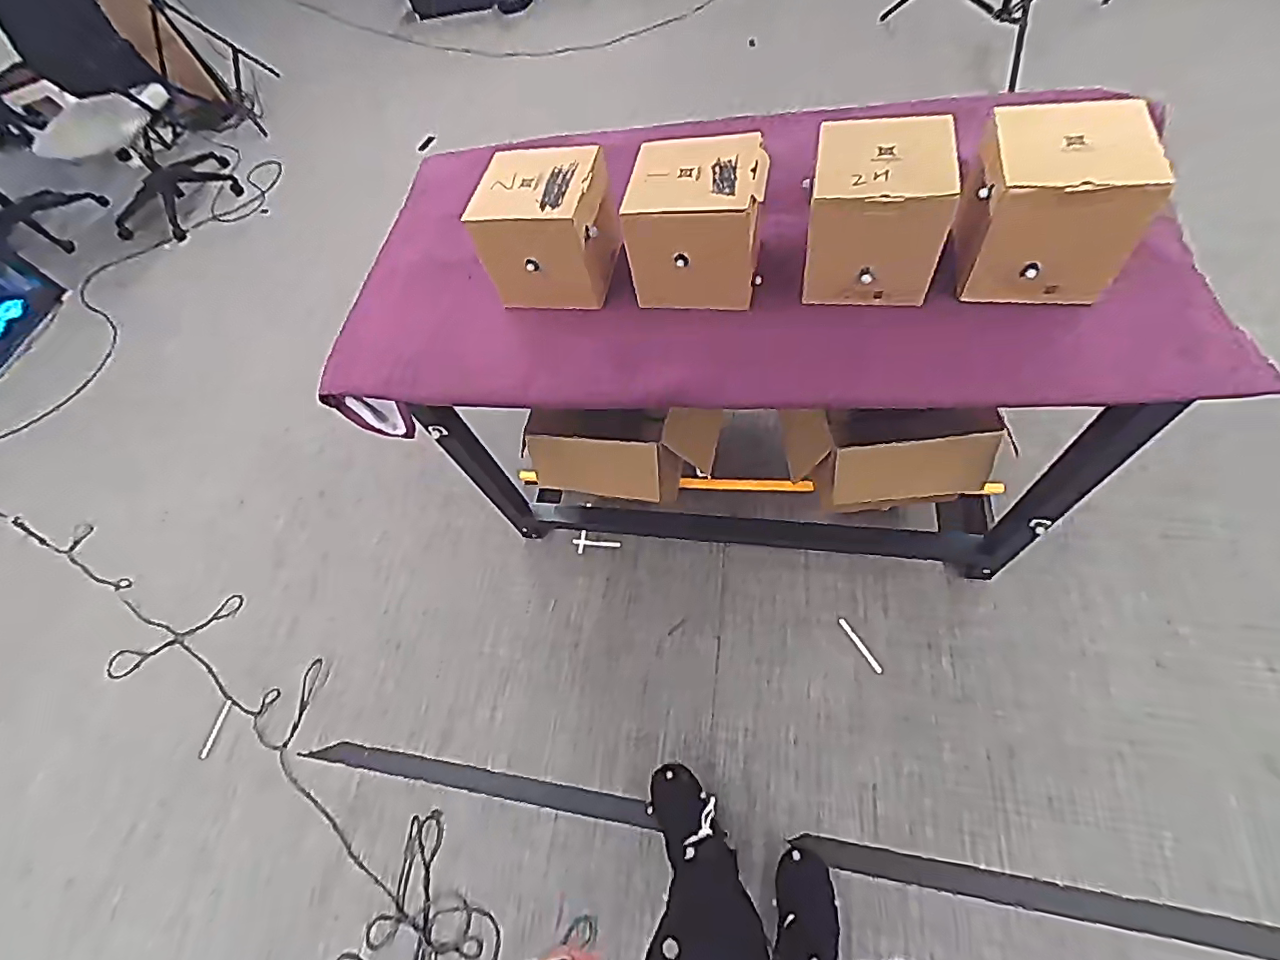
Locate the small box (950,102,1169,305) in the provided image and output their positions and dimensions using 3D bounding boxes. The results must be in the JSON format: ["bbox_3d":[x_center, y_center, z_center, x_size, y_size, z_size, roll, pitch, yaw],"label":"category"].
[{"bbox_3d":[0.523,-0.356,0.709,0.168,0.176,0.179,6,61,15],"label":"small box"}]

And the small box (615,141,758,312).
[{"bbox_3d":[0.080,-0.369,0.807,0.179,0.176,0.168,5,62,16],"label":"small box"}]
